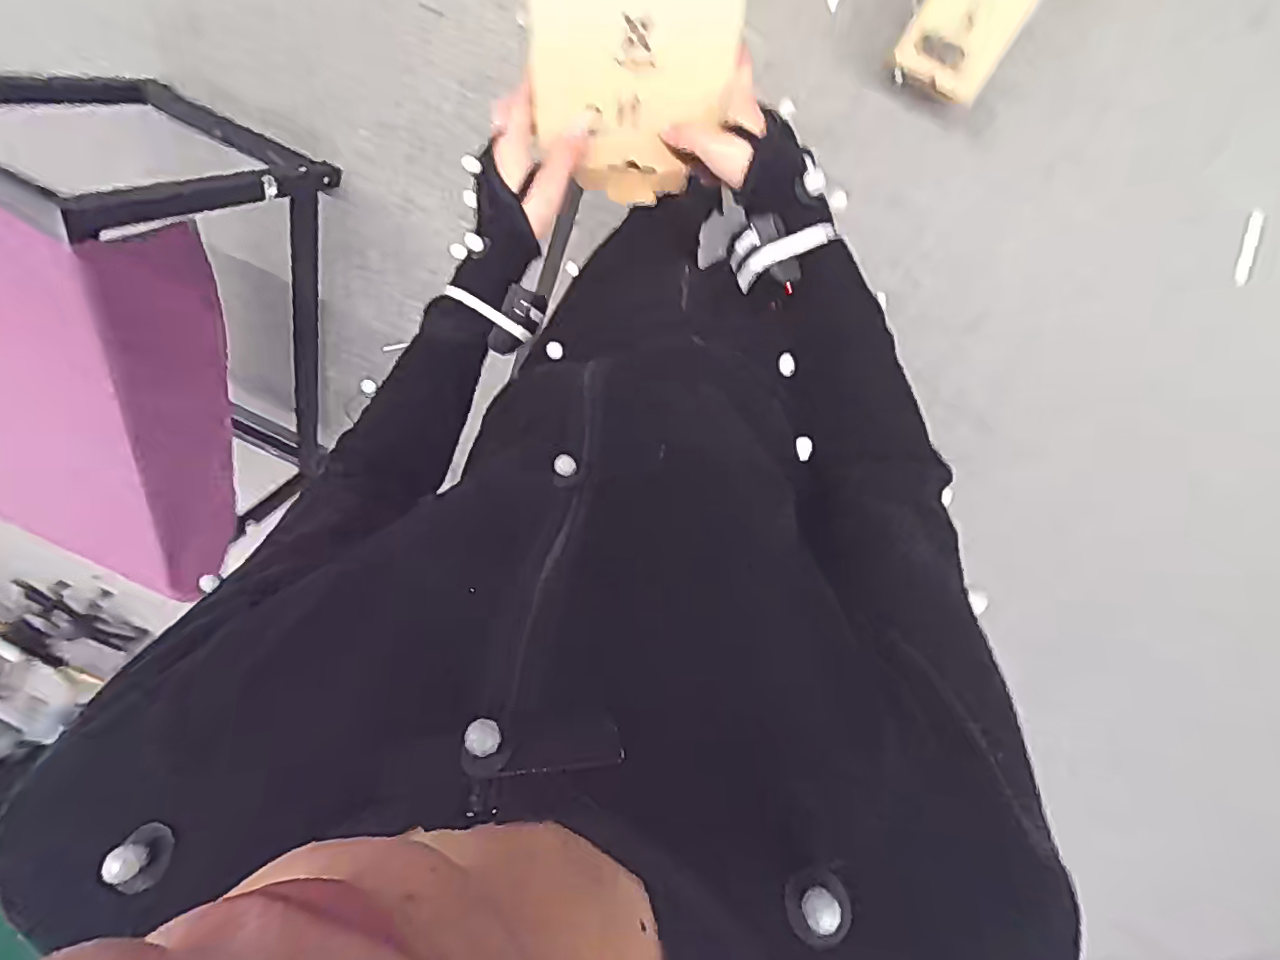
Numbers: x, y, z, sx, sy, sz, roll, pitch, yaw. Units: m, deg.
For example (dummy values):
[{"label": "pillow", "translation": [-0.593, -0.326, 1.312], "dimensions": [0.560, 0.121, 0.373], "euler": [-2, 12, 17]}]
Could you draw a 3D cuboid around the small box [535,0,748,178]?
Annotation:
[{"label": "small box", "translation": [-0.005, -0.393, 0.489], "dimensions": [0.168, 0.176, 0.179], "euler": [1, 131, -4]}]
